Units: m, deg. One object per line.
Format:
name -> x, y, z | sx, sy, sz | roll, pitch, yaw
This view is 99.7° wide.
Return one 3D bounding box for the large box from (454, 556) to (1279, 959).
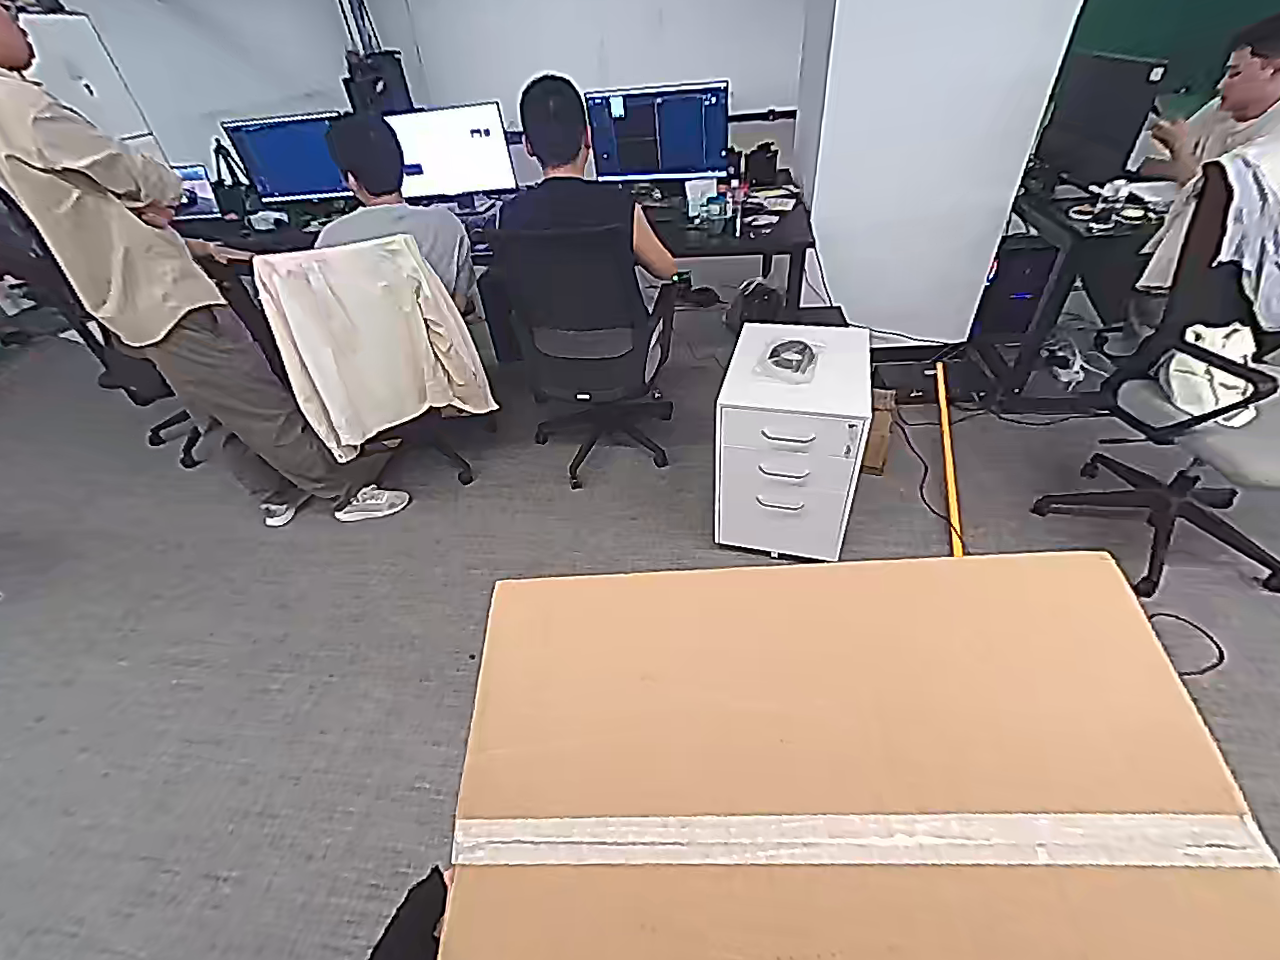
large box -> 0.117, 0.275, 0.413 | 0.408, 0.320, 0.320 | -4, 57, 6
